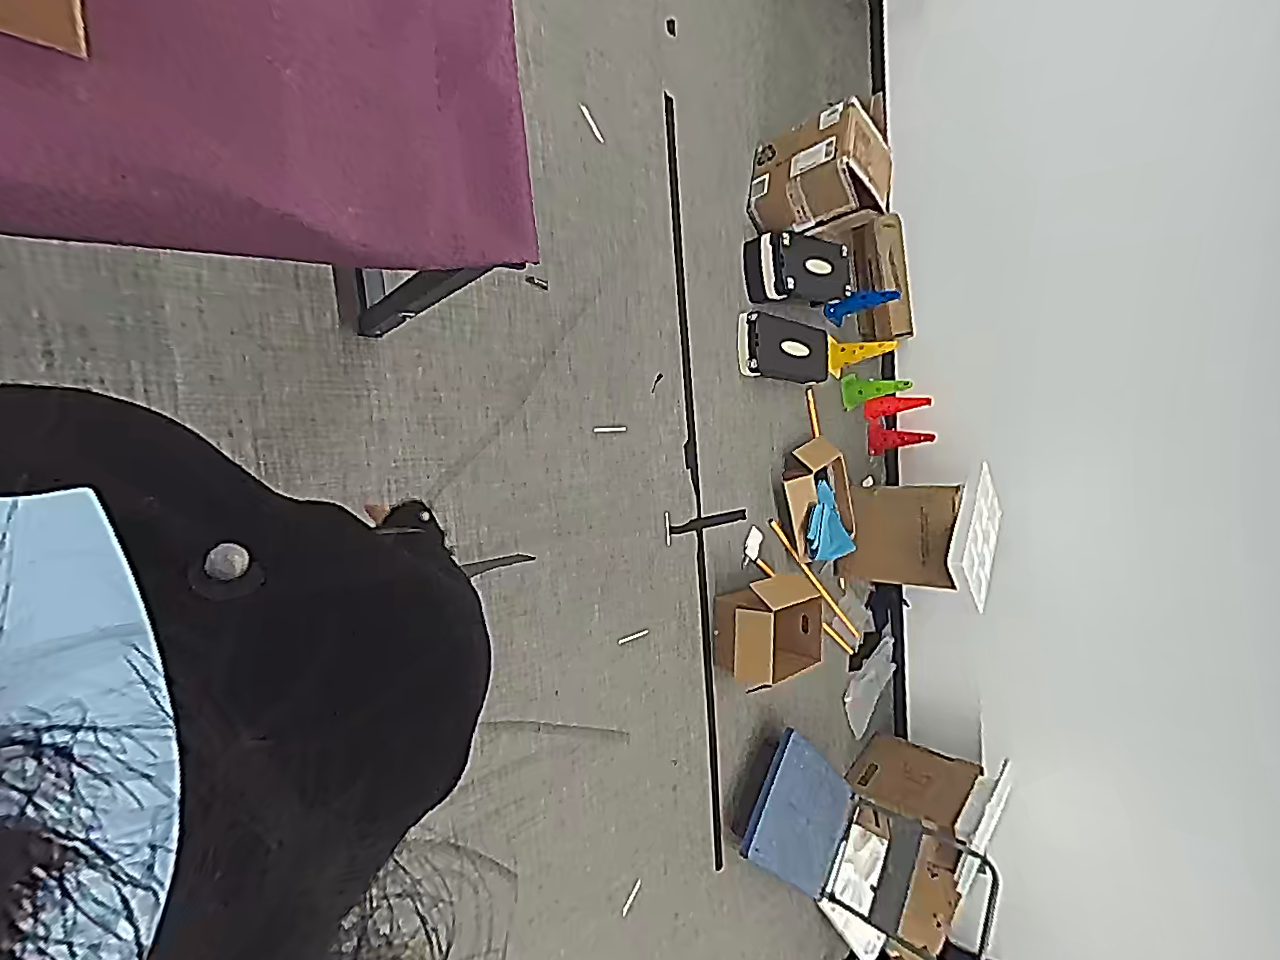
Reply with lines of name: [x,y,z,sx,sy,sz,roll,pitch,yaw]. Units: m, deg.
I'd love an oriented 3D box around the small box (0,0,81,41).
small box: [-0.584,-0.513,0.438,0.179,0.176,0.168,-6,94,-43]
